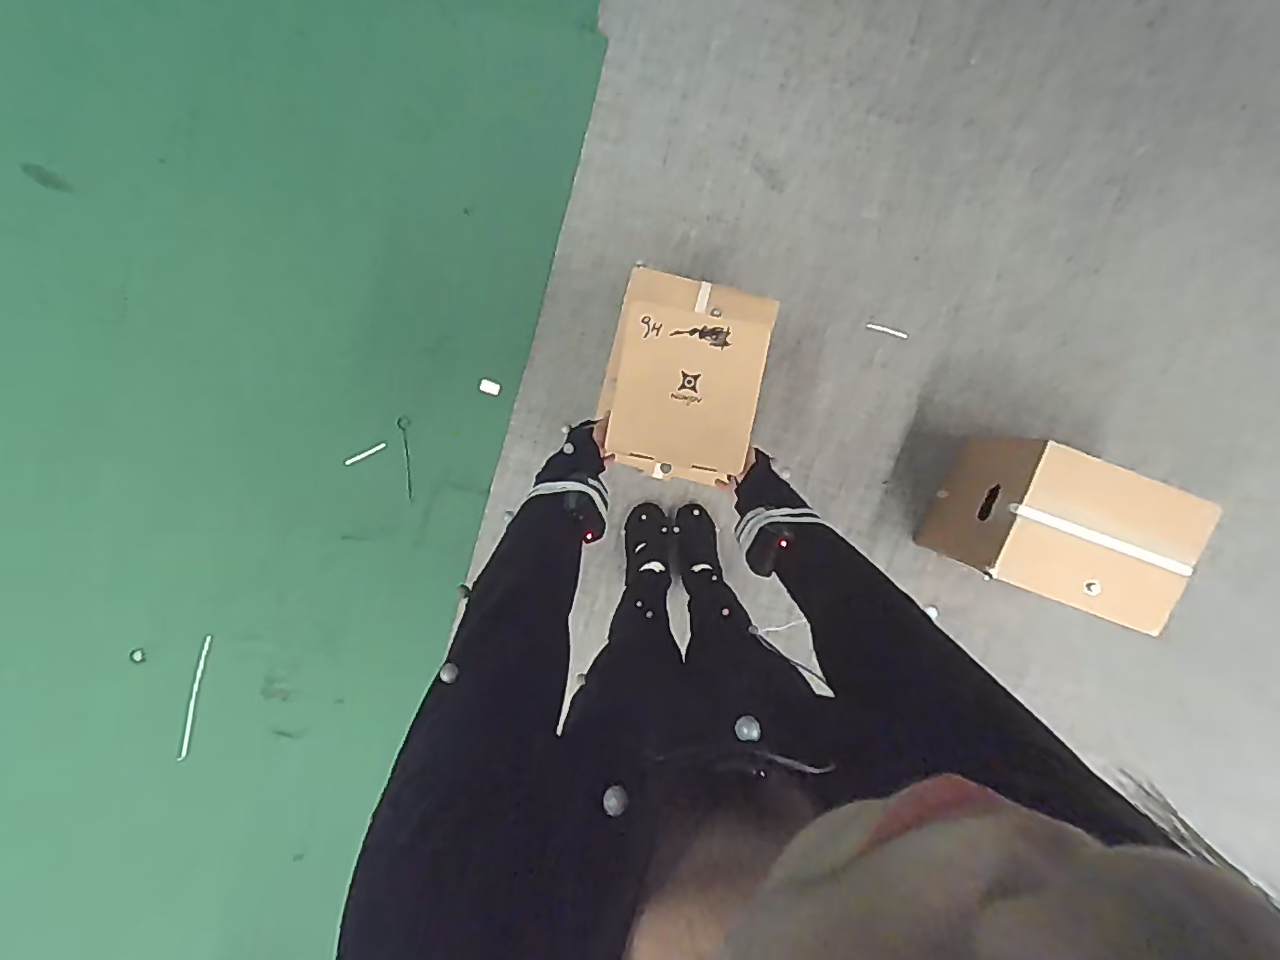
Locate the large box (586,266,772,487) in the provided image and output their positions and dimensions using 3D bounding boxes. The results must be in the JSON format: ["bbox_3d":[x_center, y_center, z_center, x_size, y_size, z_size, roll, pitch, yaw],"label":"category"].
[{"bbox_3d":[0.080,-0.219,1.264,0.320,0.320,0.408,14,94,-1],"label":"large box"}]

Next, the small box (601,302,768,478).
[{"bbox_3d":[0.051,-0.110,0.700,0.168,0.176,0.179,11,95,-1],"label":"small box"}]
